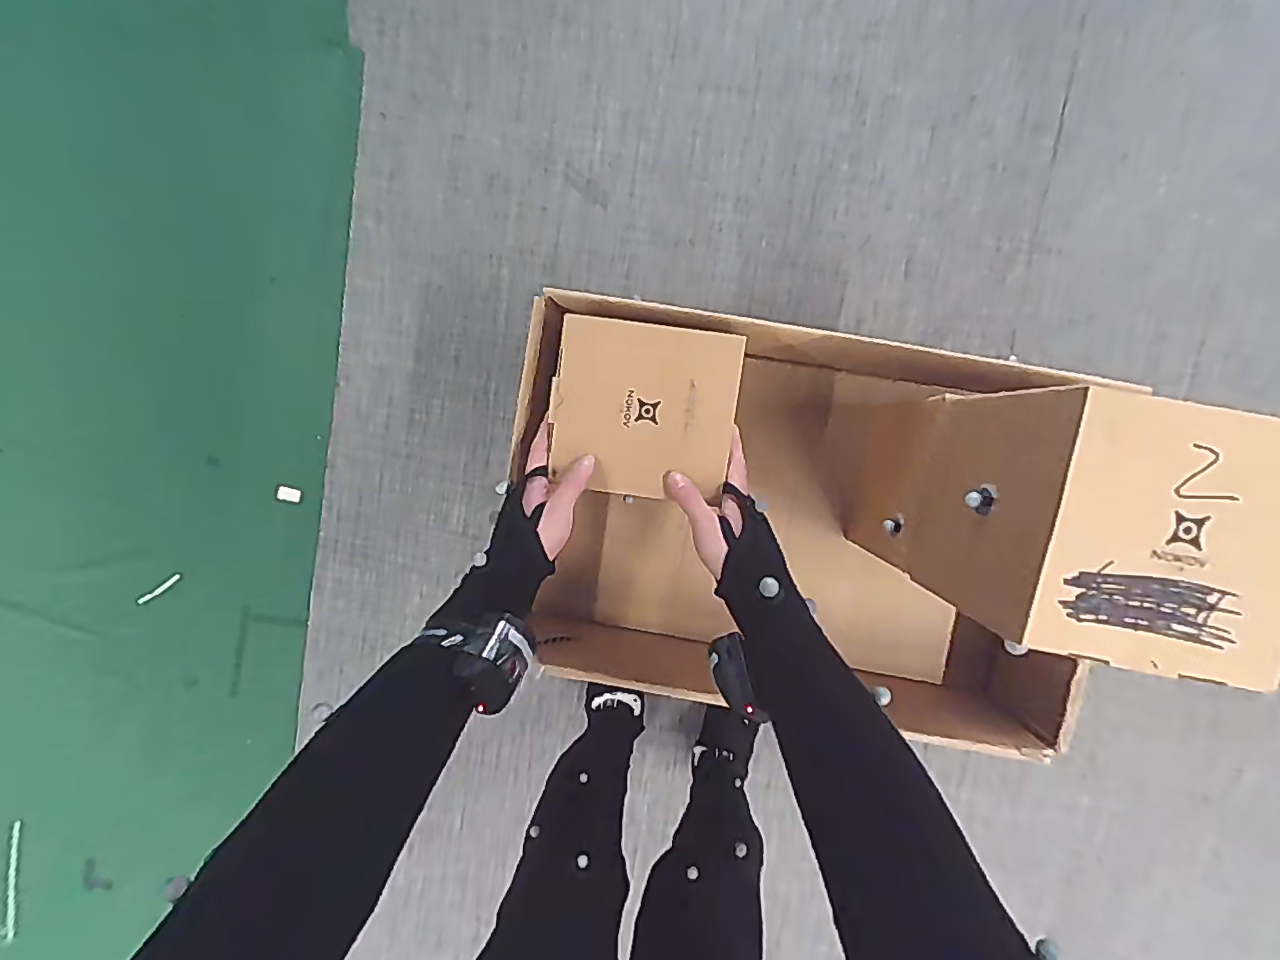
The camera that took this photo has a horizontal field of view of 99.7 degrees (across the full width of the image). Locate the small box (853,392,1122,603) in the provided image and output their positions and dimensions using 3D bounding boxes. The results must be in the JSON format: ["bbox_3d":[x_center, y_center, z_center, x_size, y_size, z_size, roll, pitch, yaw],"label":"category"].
[{"bbox_3d":[0.351,0.010,0.584,0.168,0.176,0.179,10,96,1],"label":"small box"}]
